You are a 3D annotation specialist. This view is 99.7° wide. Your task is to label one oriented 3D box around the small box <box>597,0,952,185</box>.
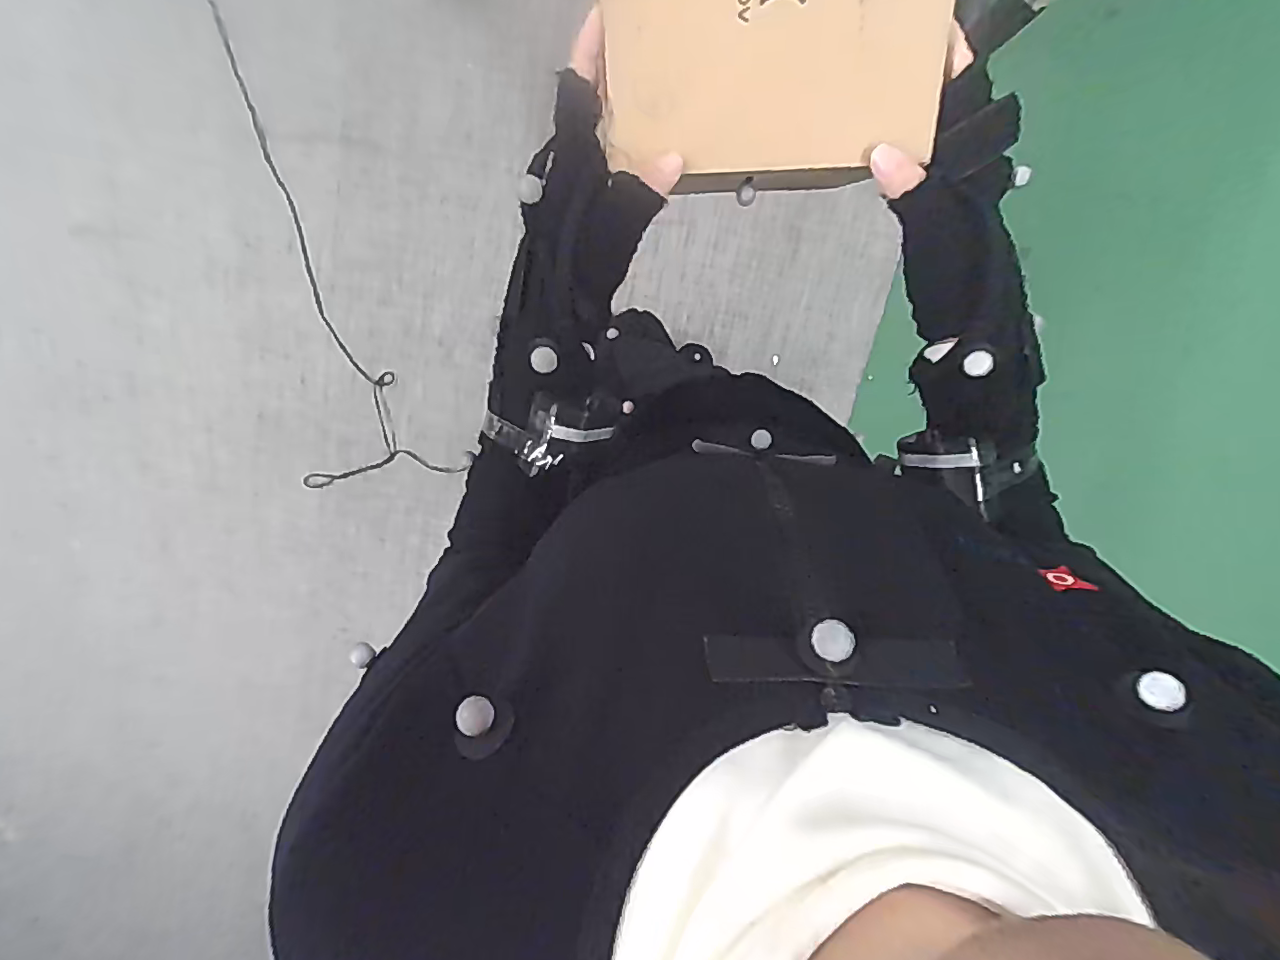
[{"bbox_3d":[0.069,-0.284,0.332,0.179,0.176,0.168,-2,115,4],"label":"small box"}]
